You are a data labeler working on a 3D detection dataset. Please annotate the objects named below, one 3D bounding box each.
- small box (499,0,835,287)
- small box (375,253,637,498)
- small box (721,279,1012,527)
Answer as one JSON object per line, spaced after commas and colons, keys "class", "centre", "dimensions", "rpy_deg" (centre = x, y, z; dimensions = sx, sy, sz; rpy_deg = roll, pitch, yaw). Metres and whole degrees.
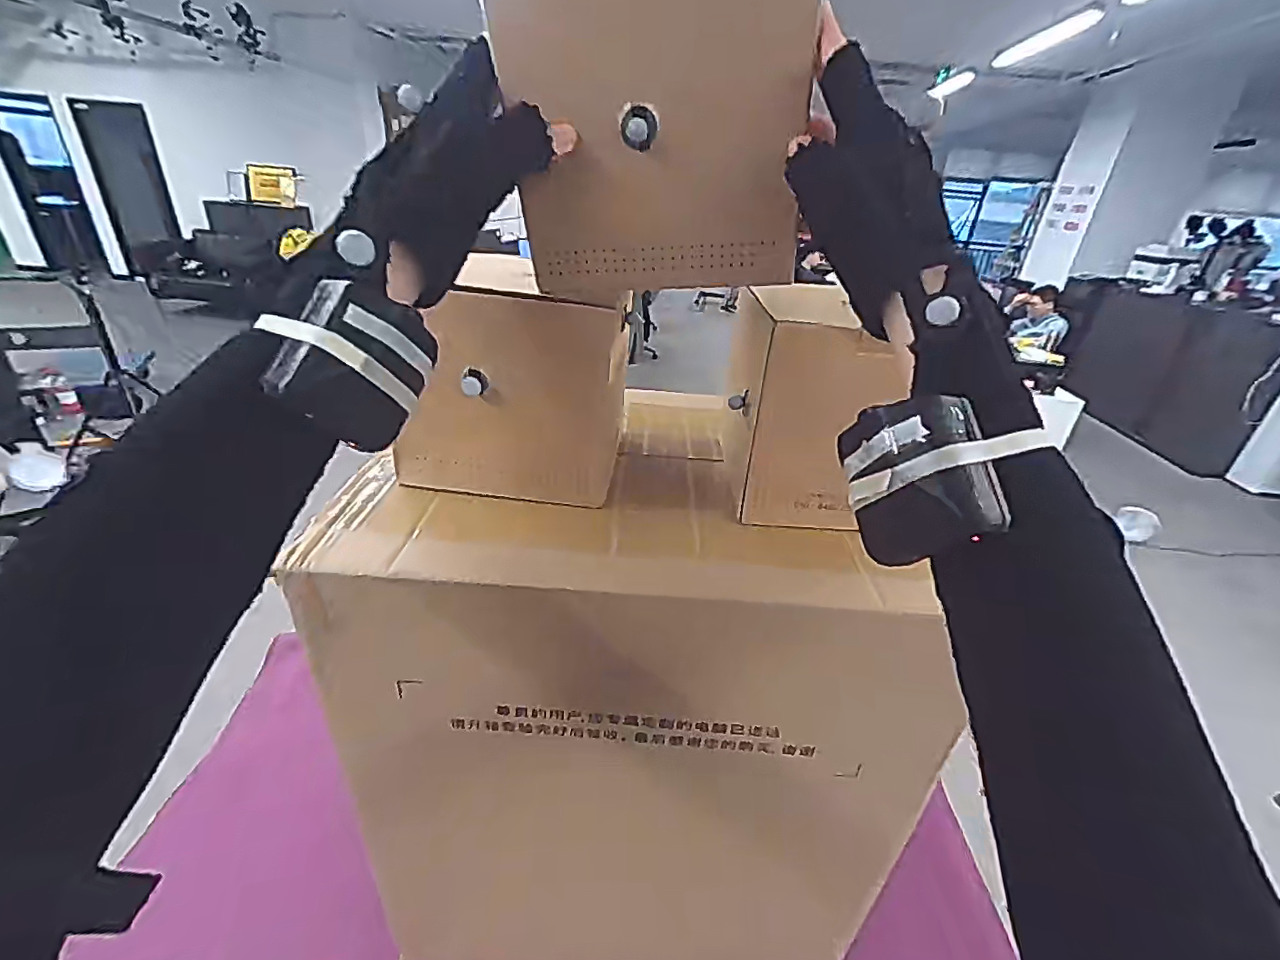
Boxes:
{"class": "small box", "centre": [0.025, -0.243, 0.377], "dimensions": [0.179, 0.176, 0.168], "rpy_deg": [1, 38, 8]}
{"class": "small box", "centre": [-0.100, -0.098, 0.479], "dimensions": [0.179, 0.176, 0.168], "rpy_deg": [6, 29, 1]}
{"class": "small box", "centre": [0.171, -0.073, 0.477], "dimensions": [0.168, 0.176, 0.179], "rpy_deg": [4, 27, -2]}
